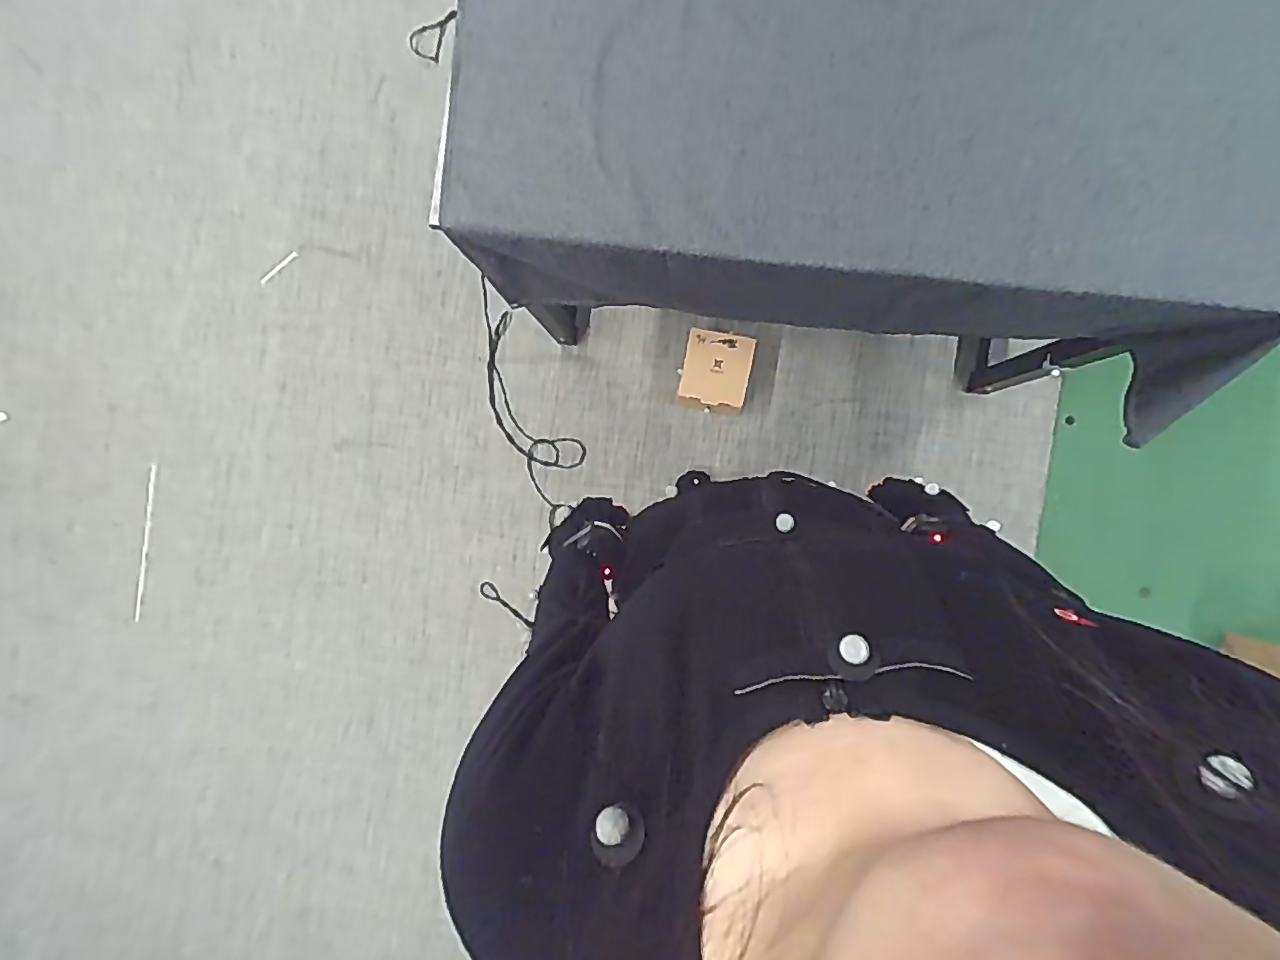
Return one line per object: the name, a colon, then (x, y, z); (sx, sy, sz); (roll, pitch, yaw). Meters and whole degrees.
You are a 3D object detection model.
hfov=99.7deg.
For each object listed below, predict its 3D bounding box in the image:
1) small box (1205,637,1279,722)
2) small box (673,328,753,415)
small box: (1.544, 0.495, 1.297); (0.179, 0.176, 0.168); (19, 90, 5)
small box: (0.186, -0.273, 1.397); (0.168, 0.176, 0.179); (12, 91, 5)
